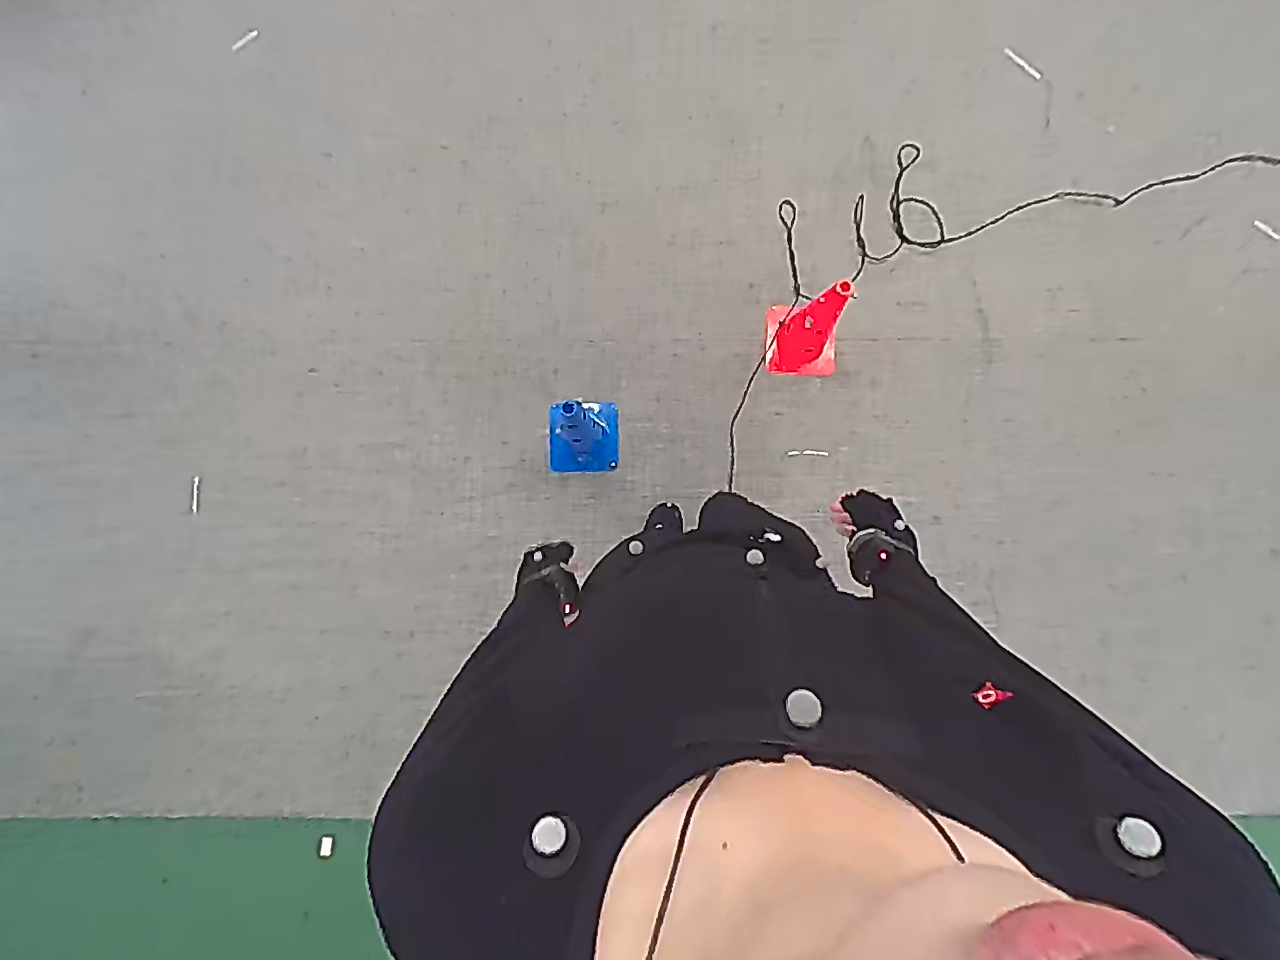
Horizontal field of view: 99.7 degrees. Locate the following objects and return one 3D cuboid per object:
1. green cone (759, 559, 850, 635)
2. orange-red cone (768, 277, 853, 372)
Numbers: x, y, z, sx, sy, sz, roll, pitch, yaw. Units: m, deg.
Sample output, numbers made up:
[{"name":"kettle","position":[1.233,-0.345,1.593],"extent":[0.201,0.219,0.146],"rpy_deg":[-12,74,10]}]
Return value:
[{"name":"green cone","position":[0.429,0.301,1.320],"extent":[0.200,0.368,0.202],"rpy_deg":[2,83,0]},{"name":"orange-red cone","position":[0.470,-0.425,1.396],"extent":[0.198,0.360,0.199],"rpy_deg":[4,86,2]}]
